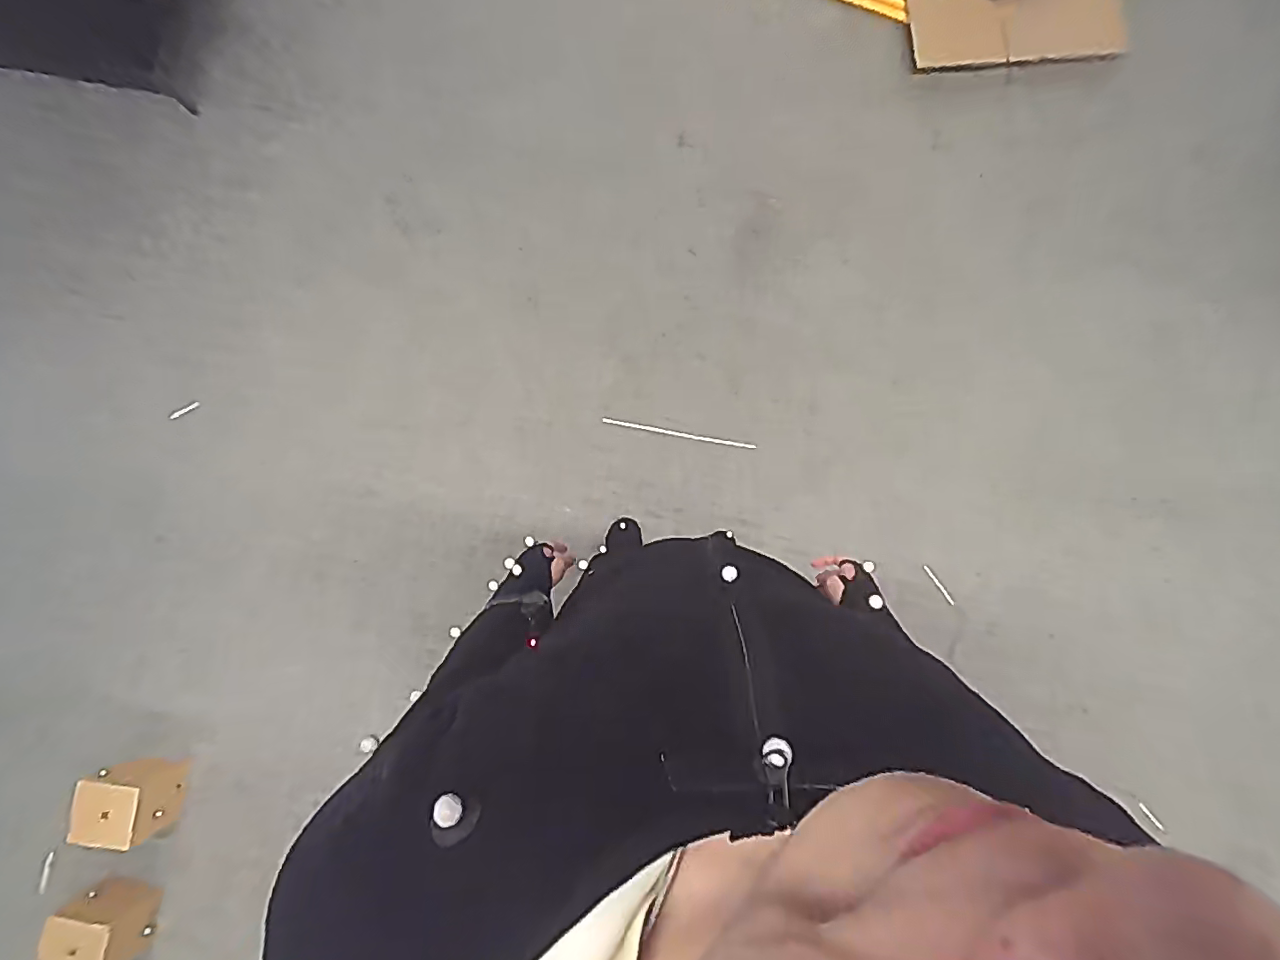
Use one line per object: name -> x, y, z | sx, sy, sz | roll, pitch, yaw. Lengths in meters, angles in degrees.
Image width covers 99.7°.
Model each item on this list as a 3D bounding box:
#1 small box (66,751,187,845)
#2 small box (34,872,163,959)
small box -> -1.438, 0.890, 1.527 | 0.179, 0.176, 0.168 | 7, 86, 2
small box -> -1.496, 1.234, 1.499 | 0.179, 0.176, 0.168 | 10, 86, 1
